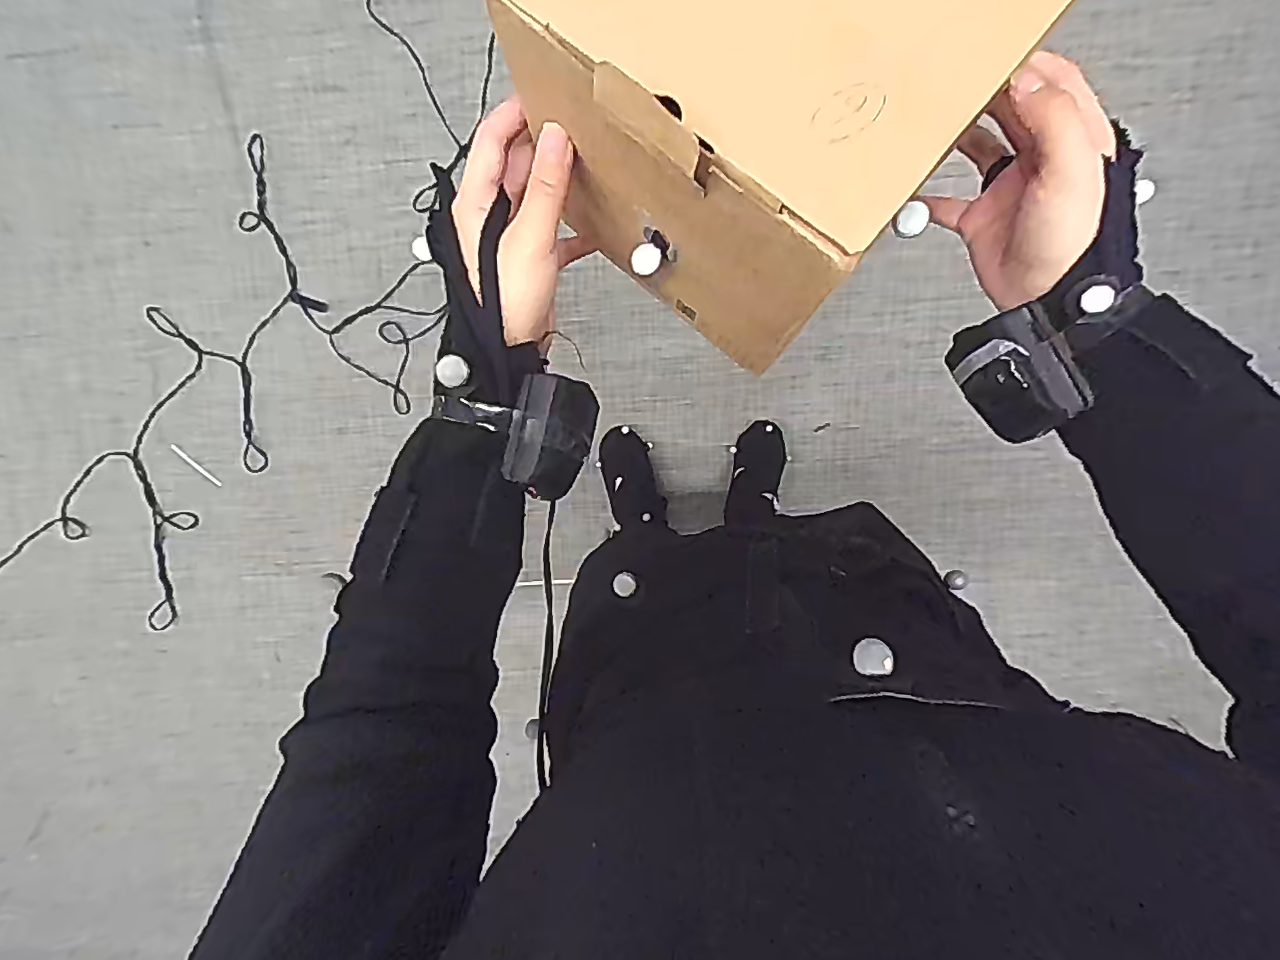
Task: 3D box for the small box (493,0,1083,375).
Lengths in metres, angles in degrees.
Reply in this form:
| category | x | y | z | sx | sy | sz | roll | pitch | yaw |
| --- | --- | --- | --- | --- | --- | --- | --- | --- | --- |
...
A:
| category | x | y | z | sx | sy | sz | roll | pitch | yaw |
| --- | --- | --- | --- | --- | --- | --- | --- | --- | --- |
| small box | 0.064 | -0.178 | 0.274 | 0.168 | 0.176 | 0.179 | 40 | 91 | 3 |
